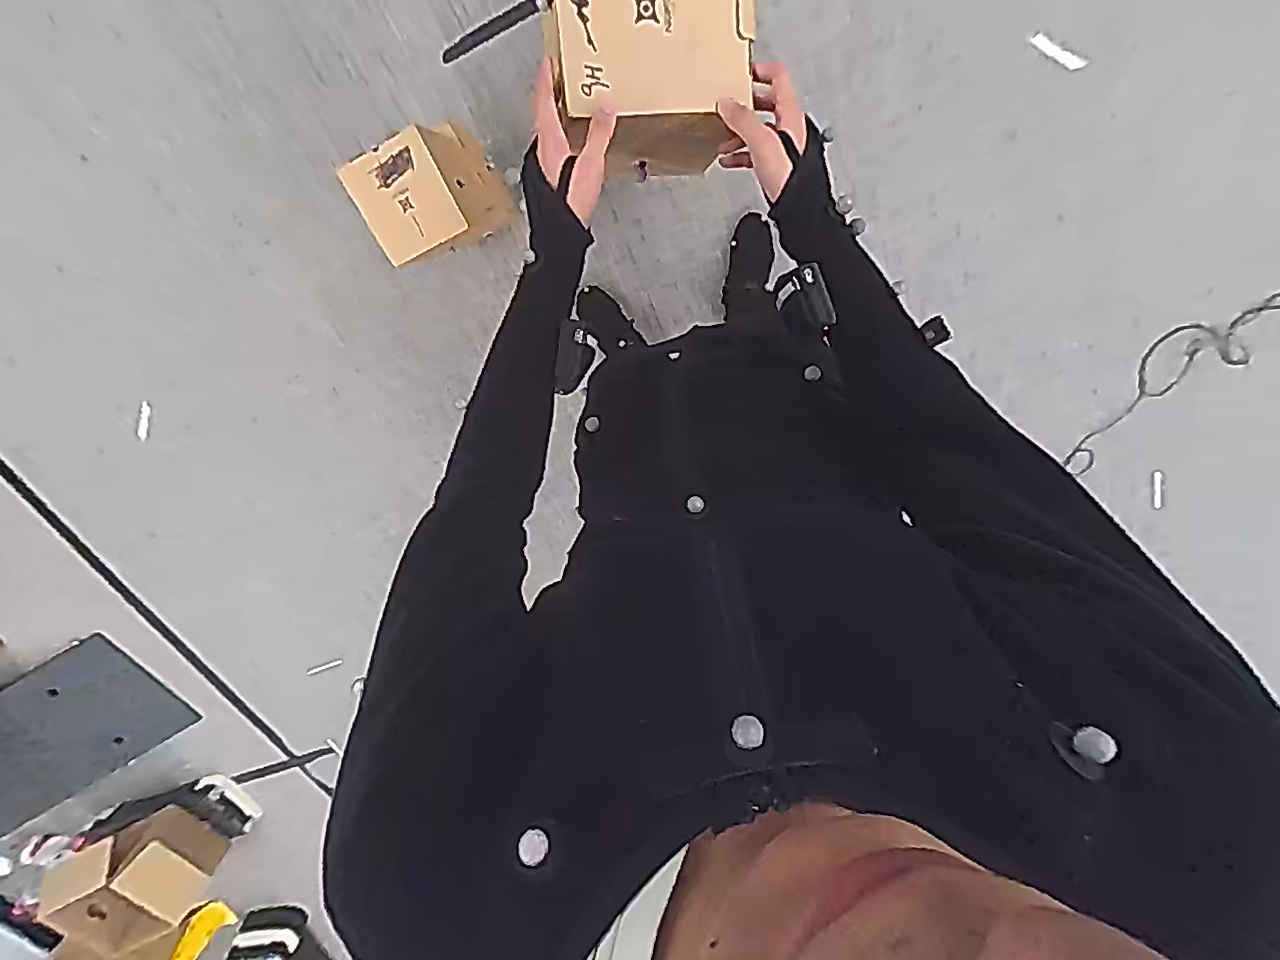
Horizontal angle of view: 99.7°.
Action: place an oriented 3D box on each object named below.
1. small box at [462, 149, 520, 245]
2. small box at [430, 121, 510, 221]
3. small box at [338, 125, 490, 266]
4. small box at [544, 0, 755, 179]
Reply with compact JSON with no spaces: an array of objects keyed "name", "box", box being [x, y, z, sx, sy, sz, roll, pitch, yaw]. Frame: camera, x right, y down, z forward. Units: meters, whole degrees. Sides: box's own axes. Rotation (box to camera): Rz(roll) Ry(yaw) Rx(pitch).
[{"name":"small box","box":[-0.413,-0.681,1.298,0.168,0.176,0.179,-24,113,11]},{"name":"small box","box":[-0.403,-0.618,1.147,0.179,0.176,0.168,-25,113,11]},{"name":"small box","box":[-0.408,-0.522,1.010,0.168,0.176,0.179,-21,114,11]},{"name":"small box","box":[0.001,-0.420,0.546,0.179,0.176,0.168,-7,103,-9]}]
